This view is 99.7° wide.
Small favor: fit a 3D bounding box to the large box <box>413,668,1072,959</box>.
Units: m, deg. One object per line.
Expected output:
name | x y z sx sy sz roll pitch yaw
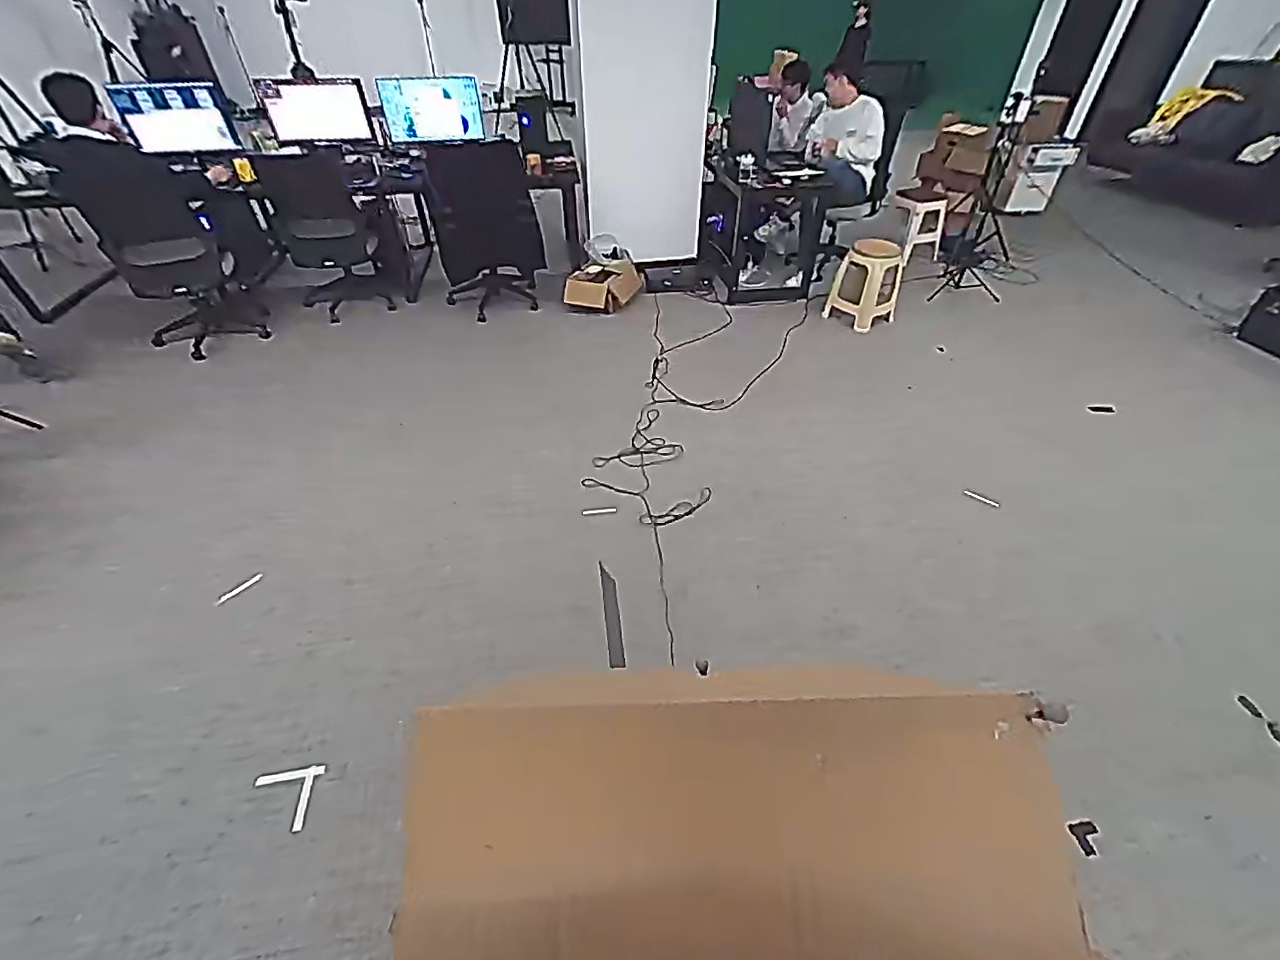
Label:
large box | 0.063 0.342 0.466 0.408 0.320 0.320 -3 76 2
